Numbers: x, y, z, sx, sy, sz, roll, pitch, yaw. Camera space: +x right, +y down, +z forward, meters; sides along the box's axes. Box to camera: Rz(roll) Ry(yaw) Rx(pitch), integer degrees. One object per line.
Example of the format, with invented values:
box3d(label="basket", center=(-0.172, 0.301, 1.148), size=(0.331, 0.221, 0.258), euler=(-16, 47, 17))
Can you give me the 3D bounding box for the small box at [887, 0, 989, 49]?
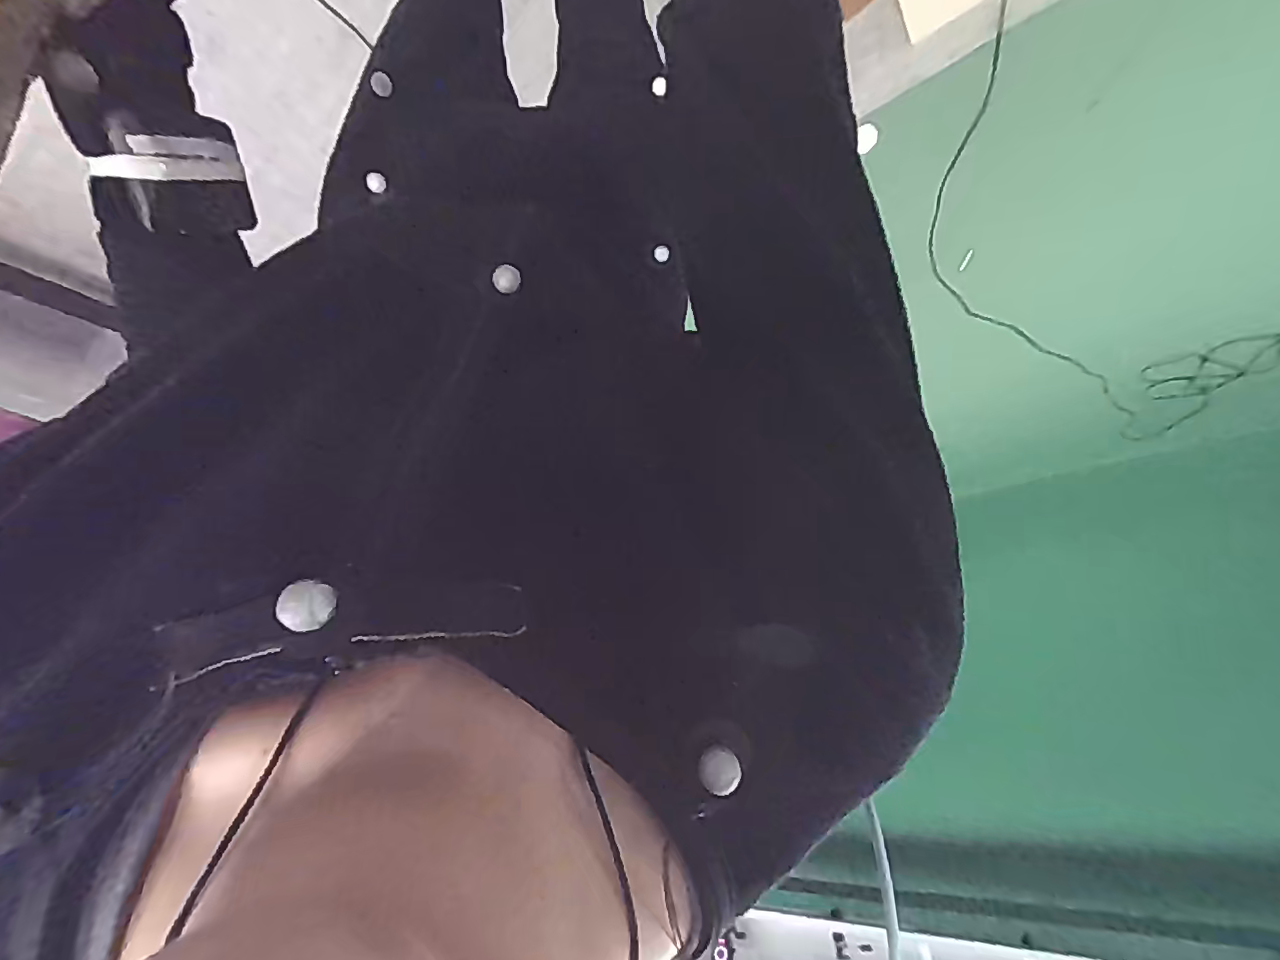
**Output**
box3d(label="small box", center=(0.409, -0.751, 0.720), size=(0.179, 0.176, 0.168), euler=(-19, 154, 32))
